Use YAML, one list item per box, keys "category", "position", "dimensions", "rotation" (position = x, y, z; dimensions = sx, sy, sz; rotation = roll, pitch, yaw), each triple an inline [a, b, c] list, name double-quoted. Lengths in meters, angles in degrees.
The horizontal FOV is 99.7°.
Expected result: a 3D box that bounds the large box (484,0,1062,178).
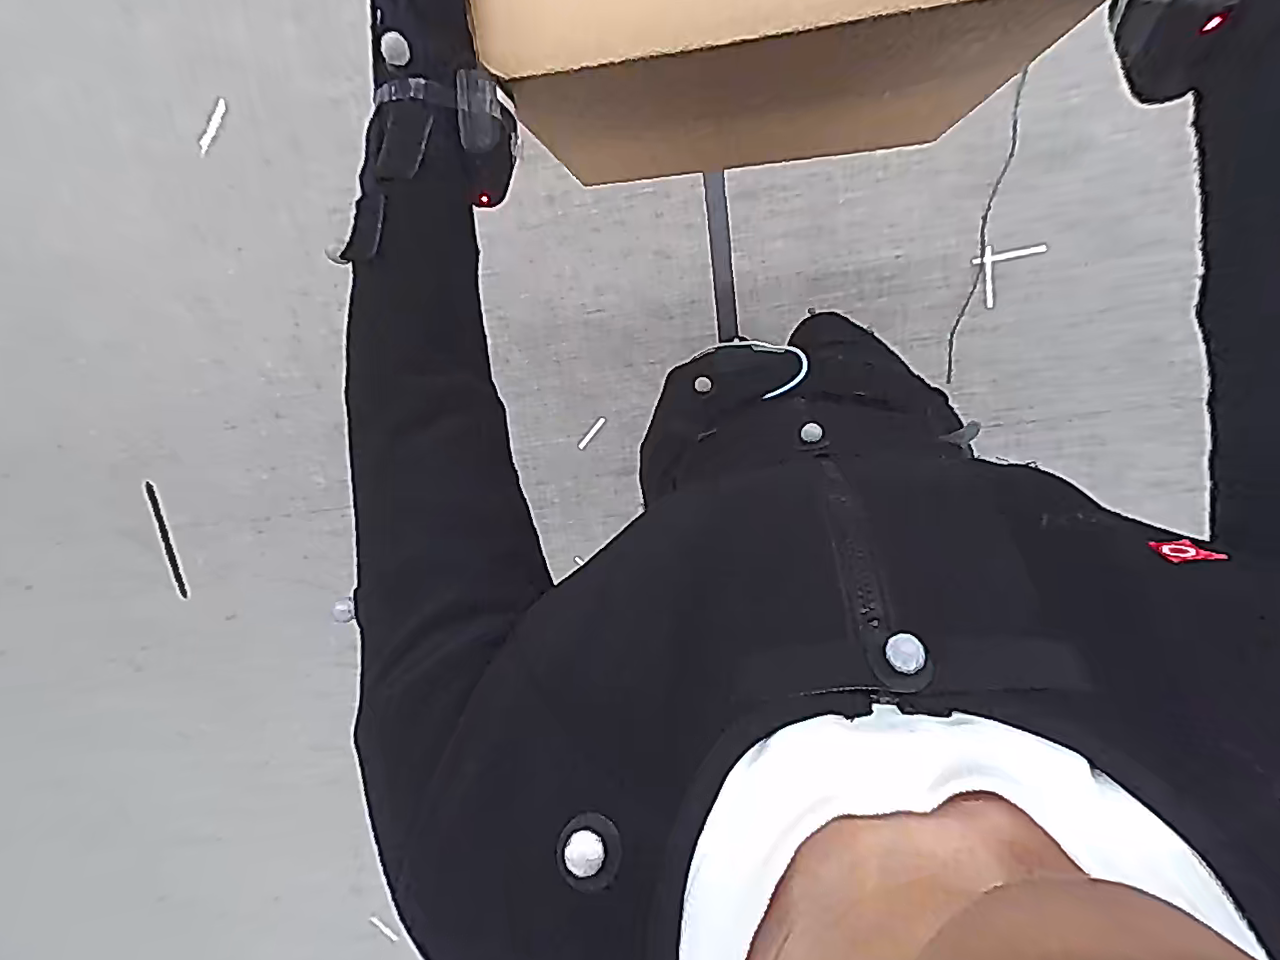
- category: "large box"
  position: [0.094, -0.483, 0.449]
  dimensions: [0.408, 0.320, 0.320]
  rotation: [-3, 106, 8]
